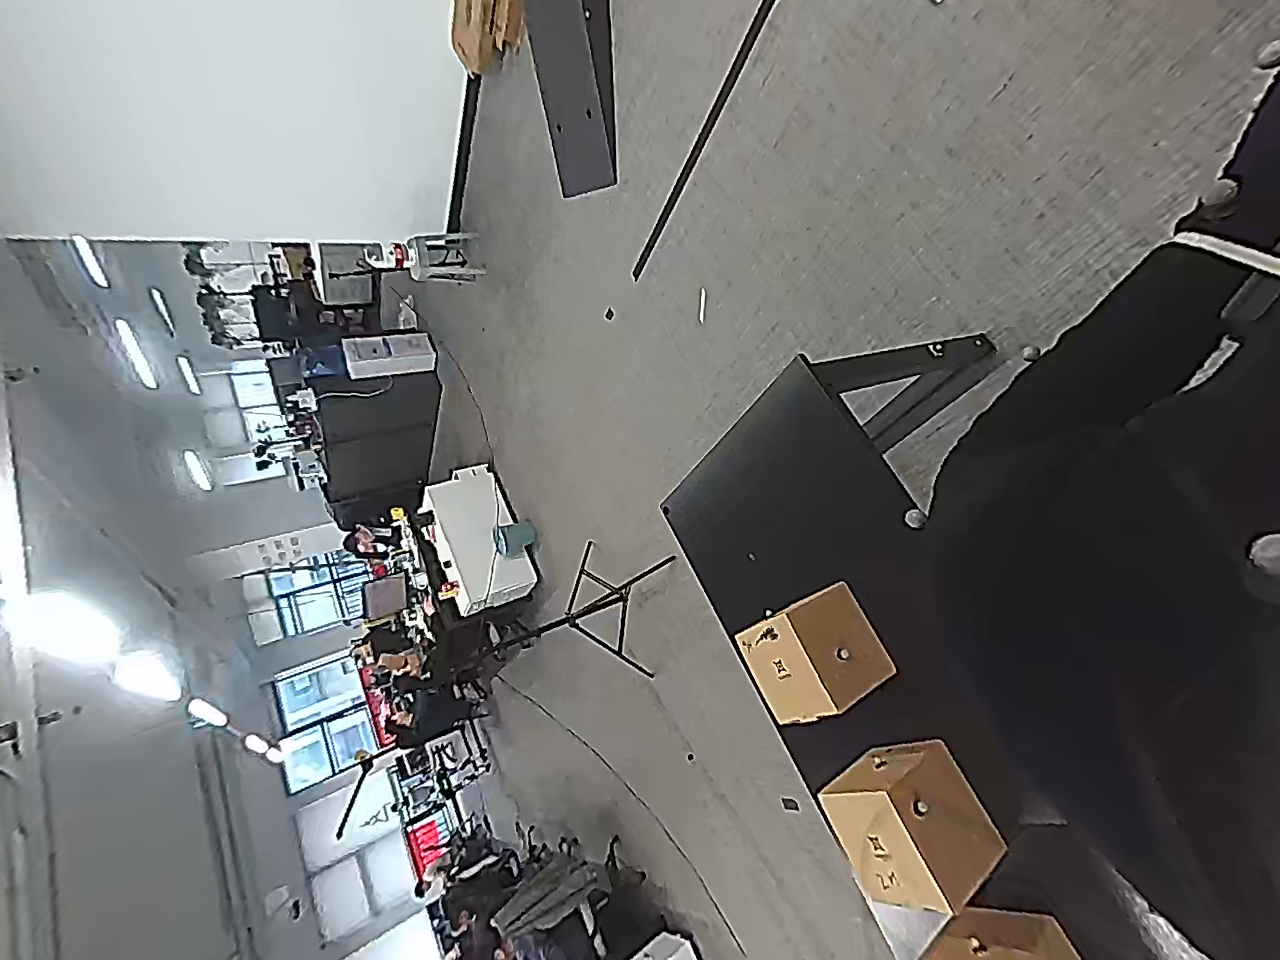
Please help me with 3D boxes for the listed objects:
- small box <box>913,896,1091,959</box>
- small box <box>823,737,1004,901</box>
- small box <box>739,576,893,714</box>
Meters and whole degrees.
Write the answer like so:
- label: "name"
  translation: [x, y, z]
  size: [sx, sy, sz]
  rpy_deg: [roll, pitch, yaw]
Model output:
- label: "small box"
  translation: [0.571, 0.774, 0.822]
  size: [0.168, 0.176, 0.179]
  rpy_deg: [61, 145, 20]
- label: "small box"
  translation: [0.453, 0.551, 0.905]
  size: [0.179, 0.176, 0.168]
  rpy_deg: [63, 147, 18]
- label: "small box"
  translation: [0.324, 0.304, 0.998]
  size: [0.179, 0.176, 0.168]
  rpy_deg: [63, 146, 16]
